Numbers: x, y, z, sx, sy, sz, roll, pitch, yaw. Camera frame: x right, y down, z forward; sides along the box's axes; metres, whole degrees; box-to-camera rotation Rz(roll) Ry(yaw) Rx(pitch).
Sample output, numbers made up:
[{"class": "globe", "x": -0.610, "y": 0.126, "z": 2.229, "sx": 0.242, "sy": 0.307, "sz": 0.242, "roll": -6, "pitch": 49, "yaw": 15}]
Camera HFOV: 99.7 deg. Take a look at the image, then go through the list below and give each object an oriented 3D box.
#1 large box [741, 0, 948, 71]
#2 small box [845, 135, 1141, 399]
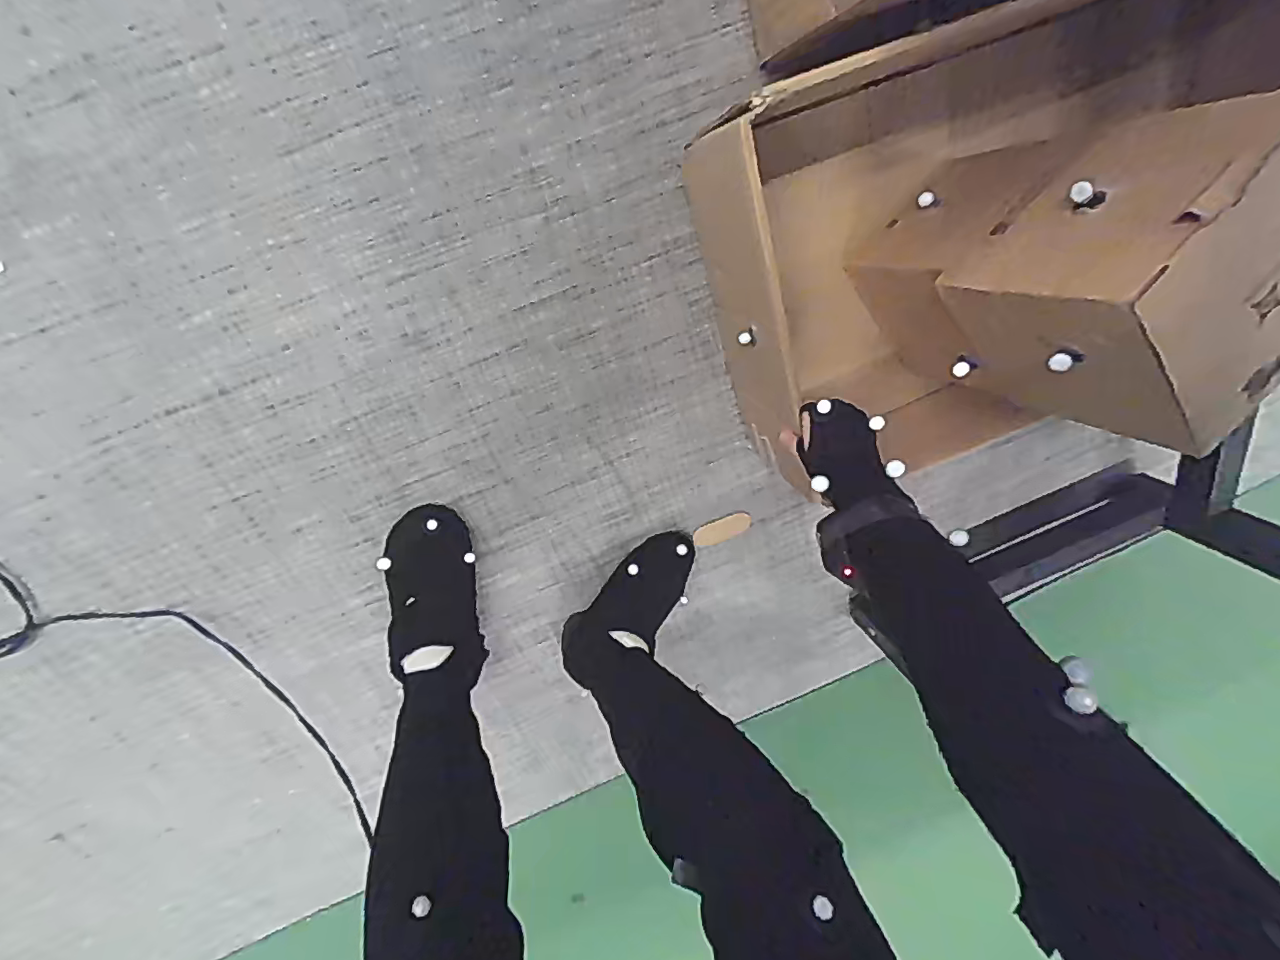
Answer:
[{"class": "large box", "x": 0.289, "y": -0.574, "z": 0.389, "sx": 0.408, "sy": 0.320, "sz": 0.320, "roll": -22, "pitch": 117, "yaw": -2}, {"class": "small box", "x": 0.360, "y": -0.218, "z": 0.574, "sx": 0.168, "sy": 0.176, "sz": 0.179, "roll": -44, "pitch": 115, "yaw": 4}]
